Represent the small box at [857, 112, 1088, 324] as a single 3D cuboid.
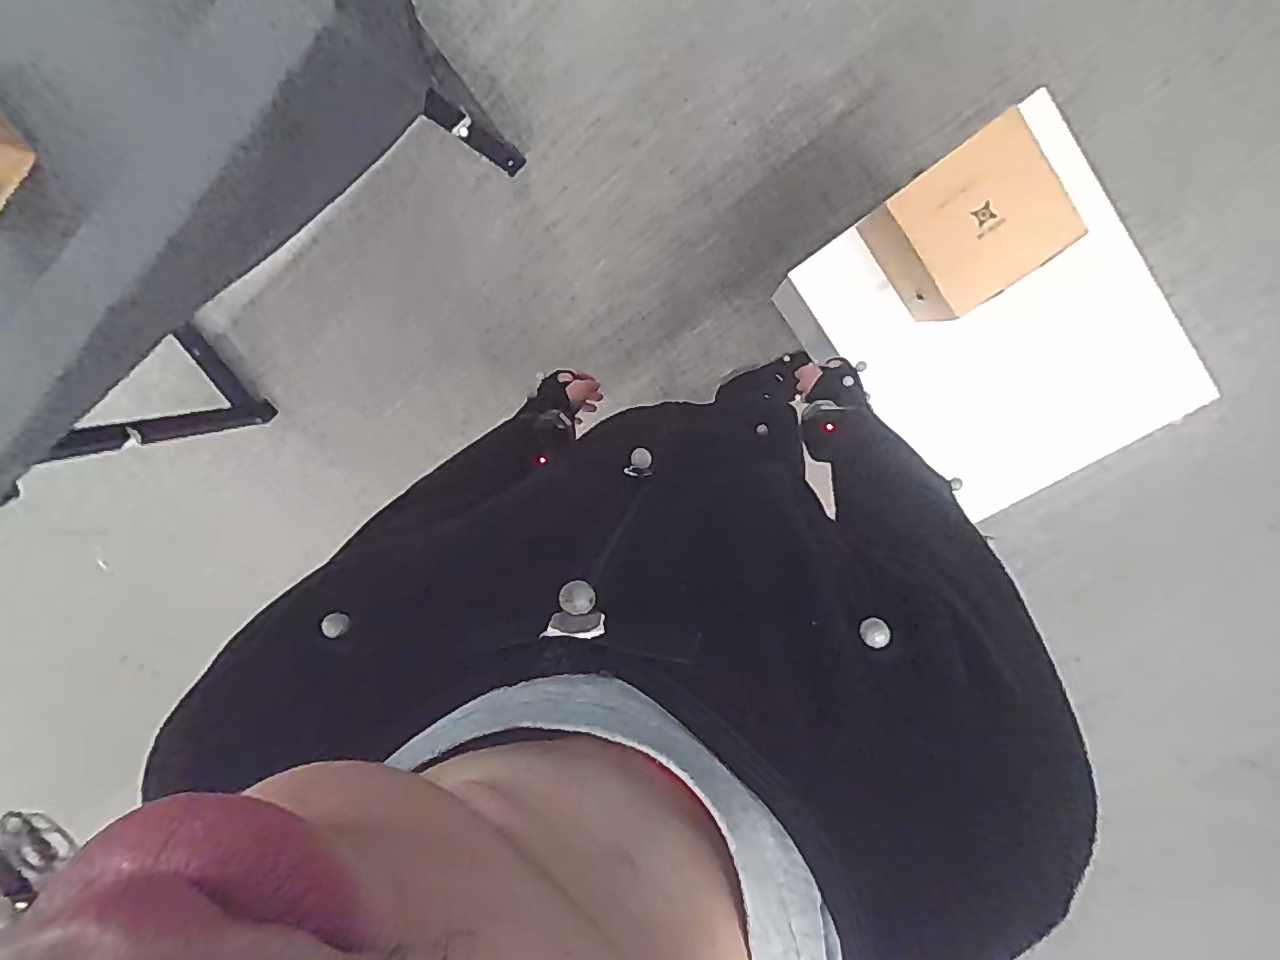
[{"bbox_3d":[0.423,-0.328,0.720,0.168,0.176,0.179,-37,96,13],"label":"small box"}]
